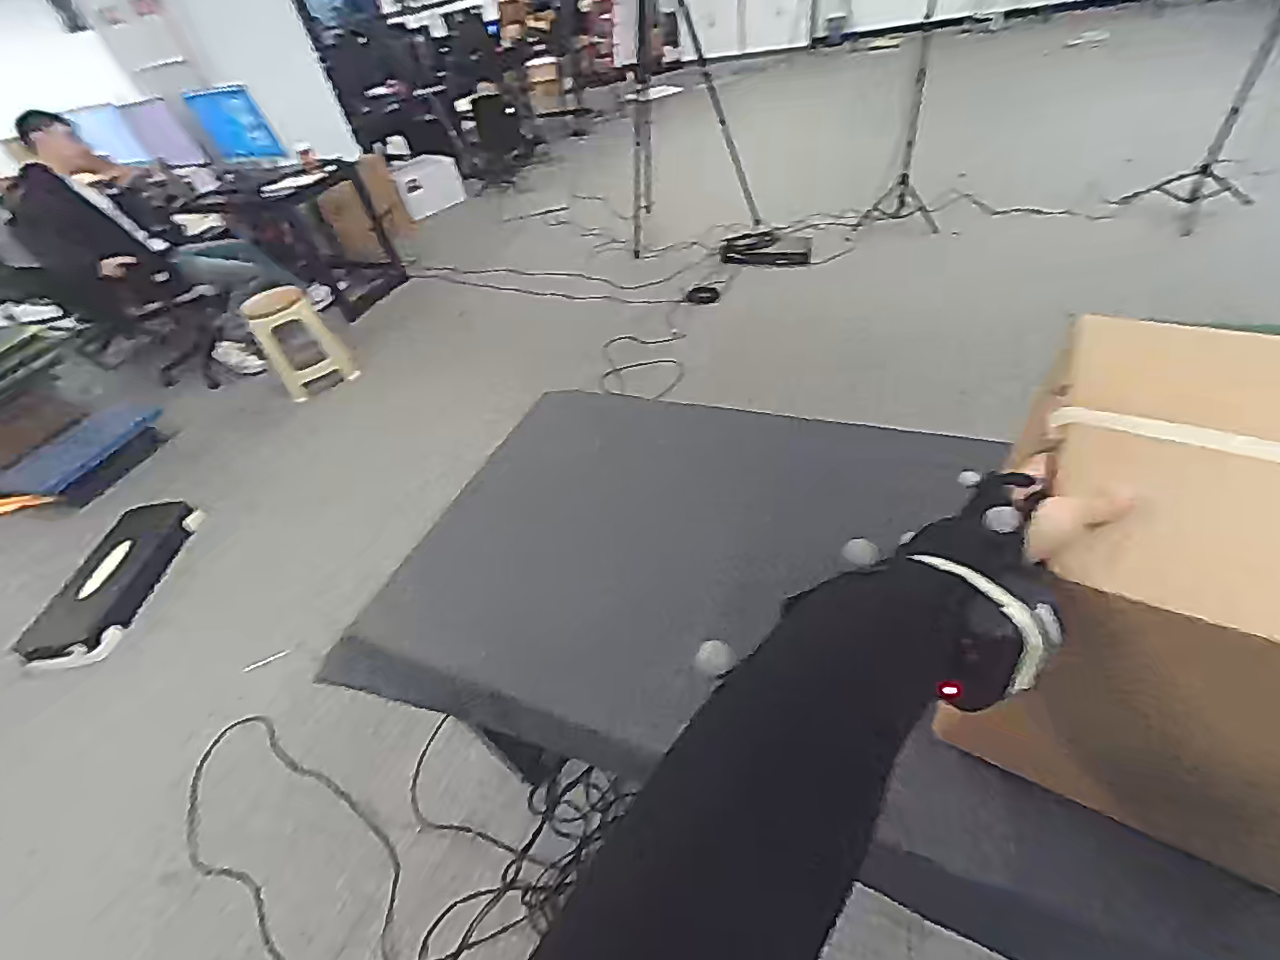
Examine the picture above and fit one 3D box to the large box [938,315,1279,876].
[{"bbox_3d":[0.521,0.105,0.442,0.408,0.320,0.320,19,54,25],"label":"large box"}]
